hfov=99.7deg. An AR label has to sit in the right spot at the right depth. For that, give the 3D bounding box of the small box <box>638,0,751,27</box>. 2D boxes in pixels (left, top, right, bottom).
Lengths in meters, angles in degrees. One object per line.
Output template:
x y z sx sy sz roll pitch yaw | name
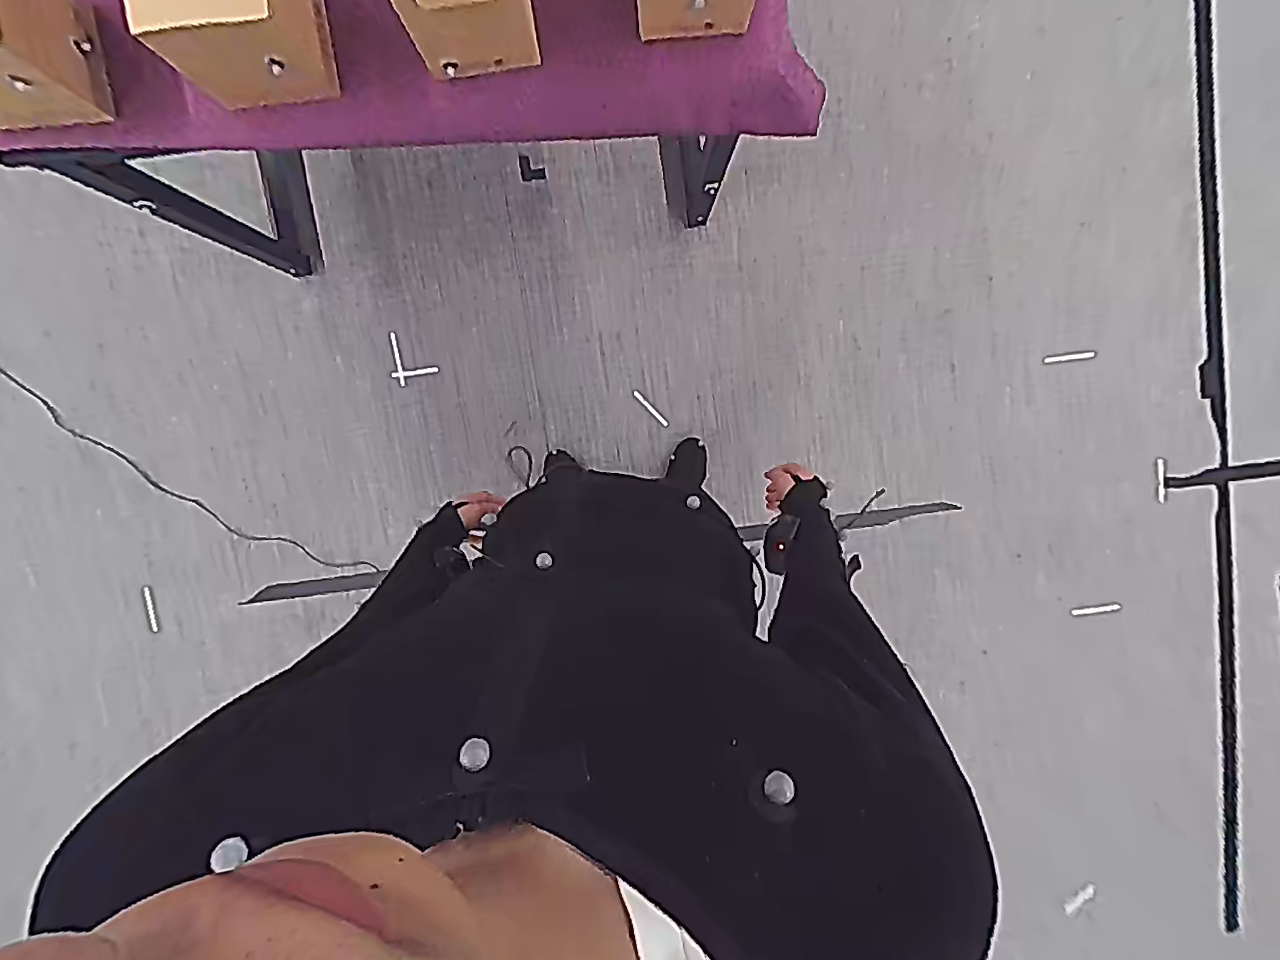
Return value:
0.076 -0.759 0.732 0.168 0.176 0.179 -5 95 0 | small box

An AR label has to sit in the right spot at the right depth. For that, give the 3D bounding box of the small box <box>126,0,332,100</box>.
-0.546 -0.652 0.729 0.179 0.176 0.168 -7 96 -1 | small box

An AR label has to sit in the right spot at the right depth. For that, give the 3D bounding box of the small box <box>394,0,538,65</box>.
-0.241 -0.703 0.732 0.168 0.176 0.179 -9 95 -1 | small box
